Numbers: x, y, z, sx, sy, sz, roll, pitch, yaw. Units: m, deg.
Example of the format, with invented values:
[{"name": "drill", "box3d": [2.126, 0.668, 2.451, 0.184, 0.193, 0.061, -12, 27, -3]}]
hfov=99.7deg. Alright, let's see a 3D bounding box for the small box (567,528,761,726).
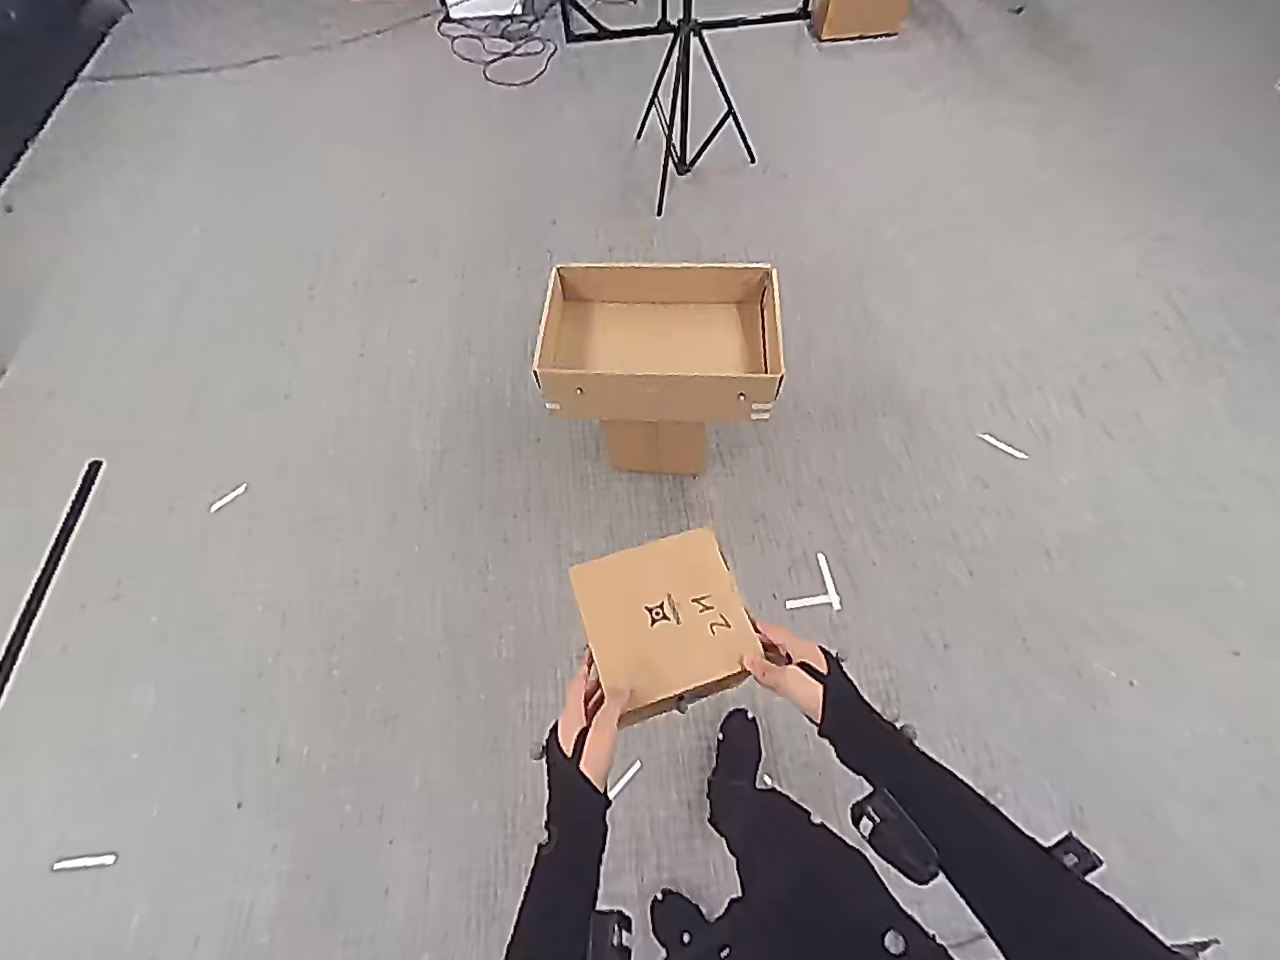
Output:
[{"name": "small box", "box3d": [0.021, 0.185, 0.658, 0.179, 0.176, 0.168, -15, 62, -11]}]
